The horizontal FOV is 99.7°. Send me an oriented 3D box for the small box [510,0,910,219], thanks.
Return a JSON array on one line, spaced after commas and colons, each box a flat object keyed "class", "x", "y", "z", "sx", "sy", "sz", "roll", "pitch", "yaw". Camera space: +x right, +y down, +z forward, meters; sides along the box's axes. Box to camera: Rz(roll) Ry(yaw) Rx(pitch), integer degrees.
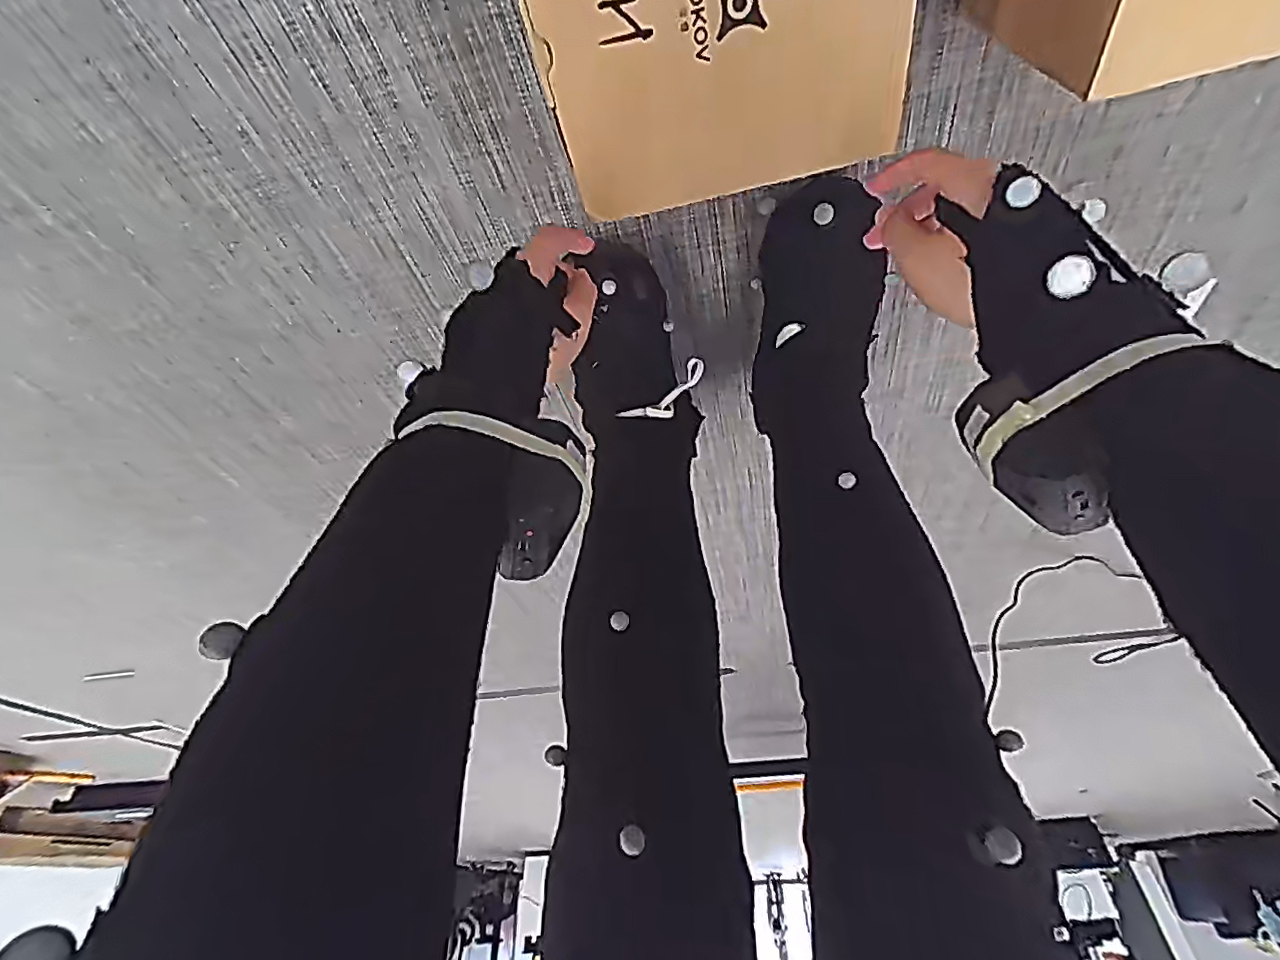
[{"class": "small box", "x": 0.028, "y": -0.273, "z": 0.284, "sx": 0.179, "sy": 0.176, "sz": 0.168, "roll": -9, "pitch": 141, "yaw": 8}]
